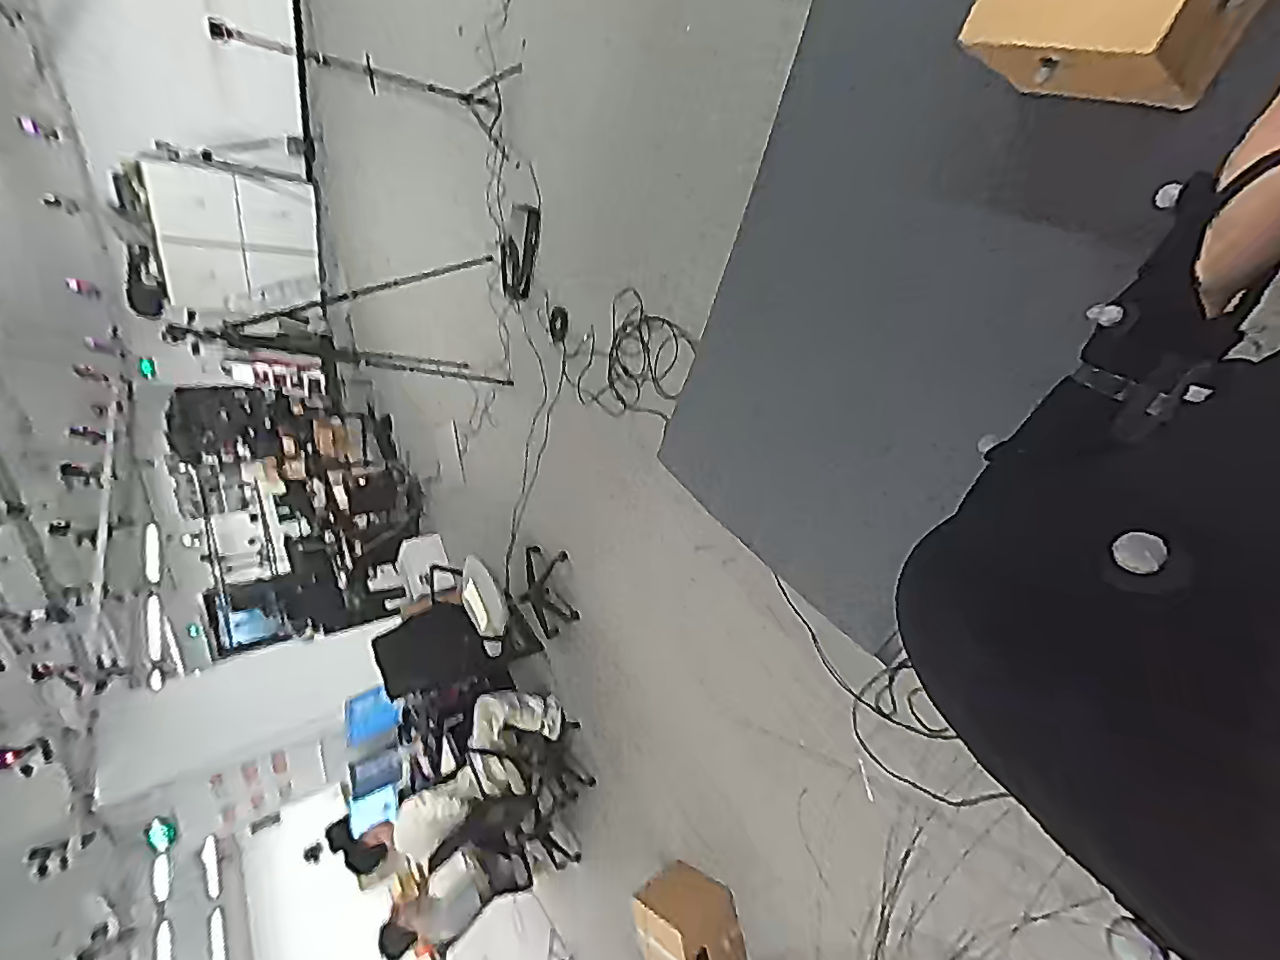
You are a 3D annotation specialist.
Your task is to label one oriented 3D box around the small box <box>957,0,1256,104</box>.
[{"bbox_3d":[0.445,-0.461,0.489,0.179,0.176,0.168,46,133,39],"label":"small box"}]
